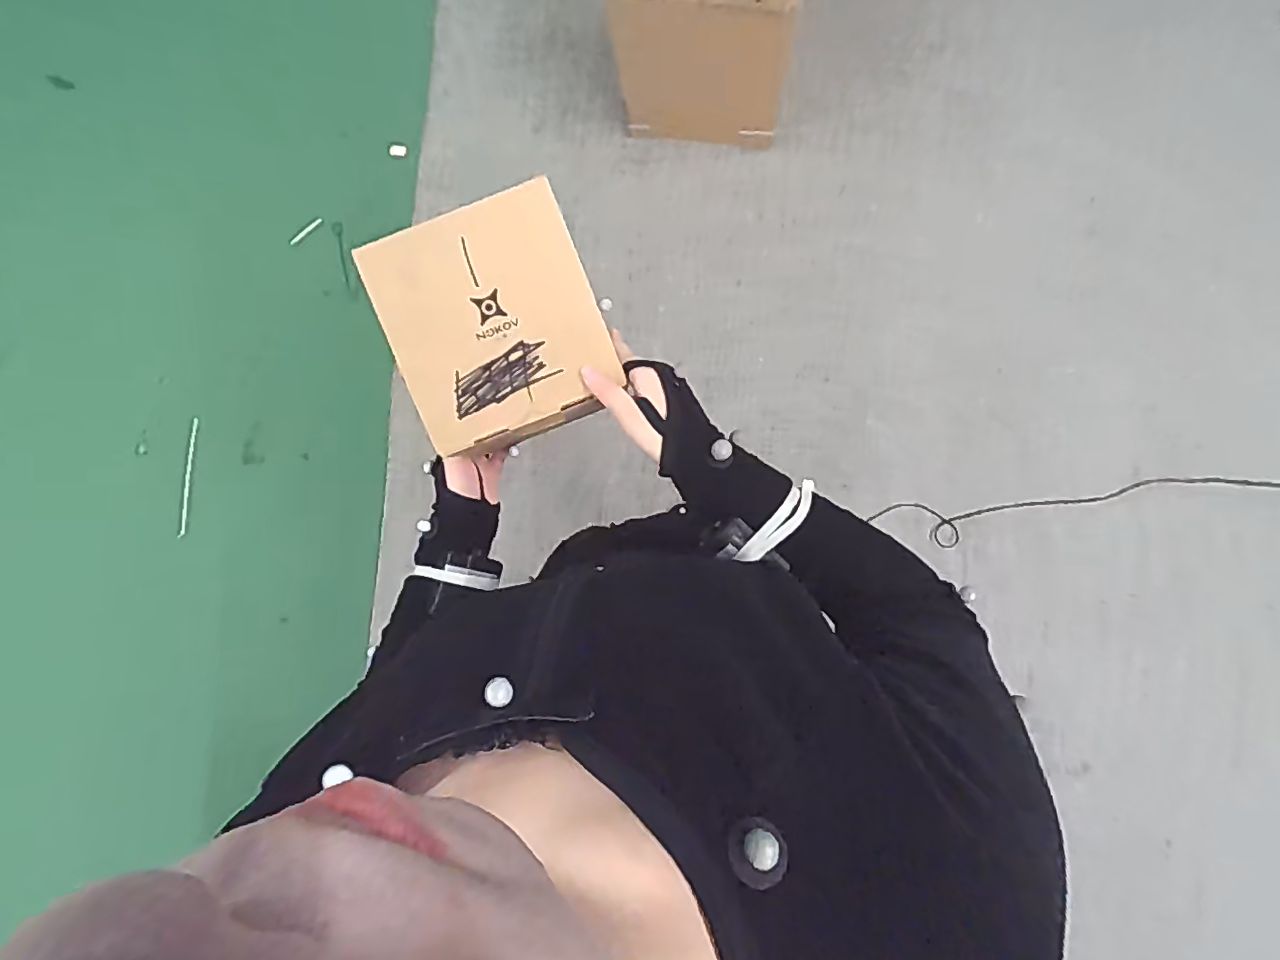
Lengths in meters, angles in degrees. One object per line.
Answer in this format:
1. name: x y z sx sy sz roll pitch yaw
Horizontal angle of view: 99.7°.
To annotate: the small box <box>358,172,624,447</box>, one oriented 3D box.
1. small box: -0.118 -0.140 0.509 0.168 0.176 0.179 -21 93 -1
